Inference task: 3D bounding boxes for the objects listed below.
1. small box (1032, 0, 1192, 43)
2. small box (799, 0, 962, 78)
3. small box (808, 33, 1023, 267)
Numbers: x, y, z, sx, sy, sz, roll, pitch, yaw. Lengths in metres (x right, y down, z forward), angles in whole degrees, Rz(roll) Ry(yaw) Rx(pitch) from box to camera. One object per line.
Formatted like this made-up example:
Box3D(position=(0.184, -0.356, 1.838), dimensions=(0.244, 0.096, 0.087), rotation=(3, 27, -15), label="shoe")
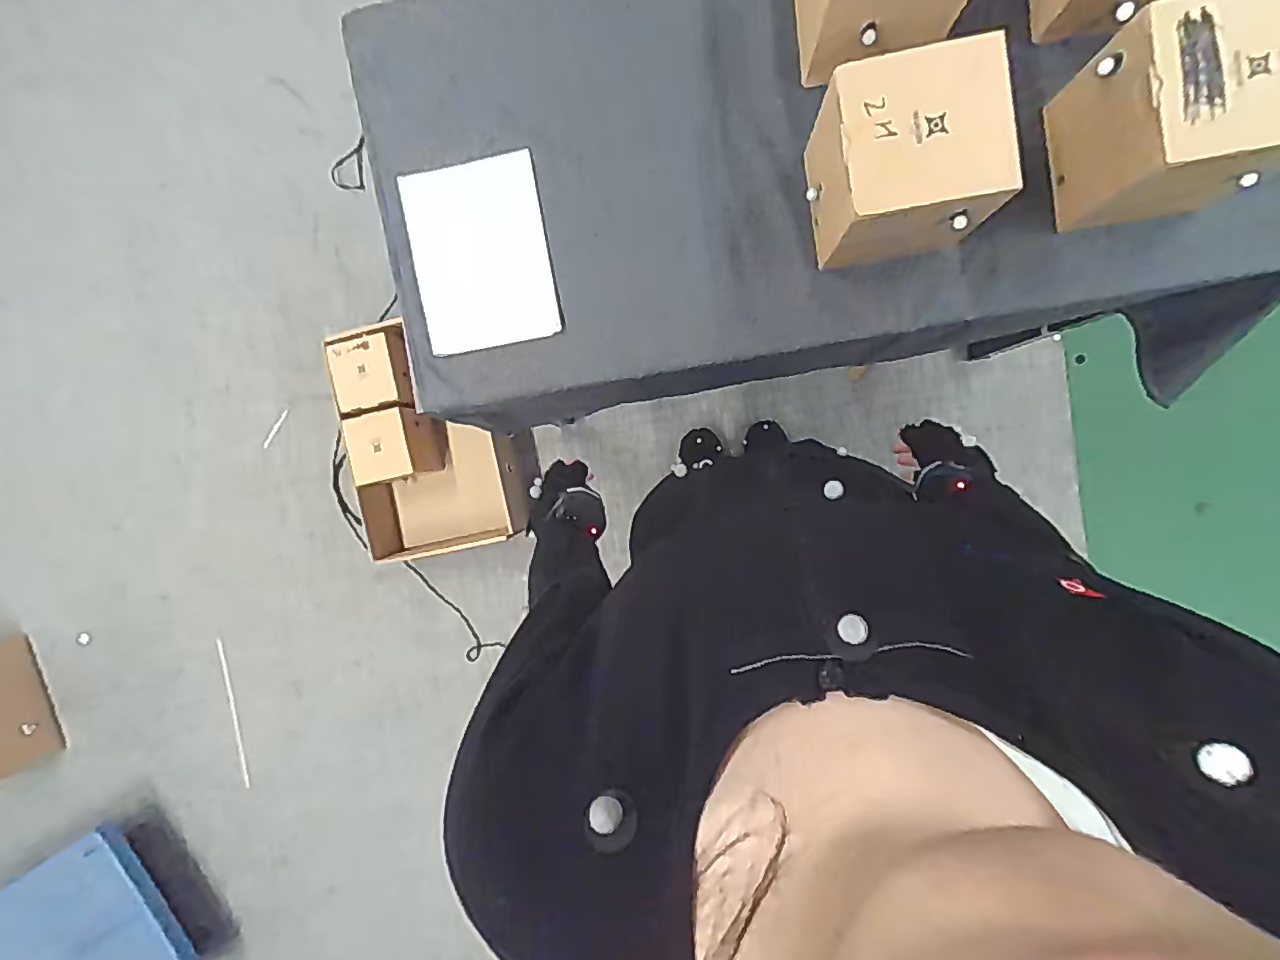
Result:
Box3D(position=(0.575, -0.653, 0.610), dimensions=(0.168, 0.176, 0.179), rotation=(-5, 93, 7), label="small box")
Box3D(position=(0.289, -0.621, 0.646), dimensions=(0.168, 0.176, 0.179), rotation=(-5, 92, 7), label="small box")
Box3D(position=(0.314, -0.377, 0.651), dimensions=(0.179, 0.176, 0.168), rotation=(-7, 91, 7), label="small box")
